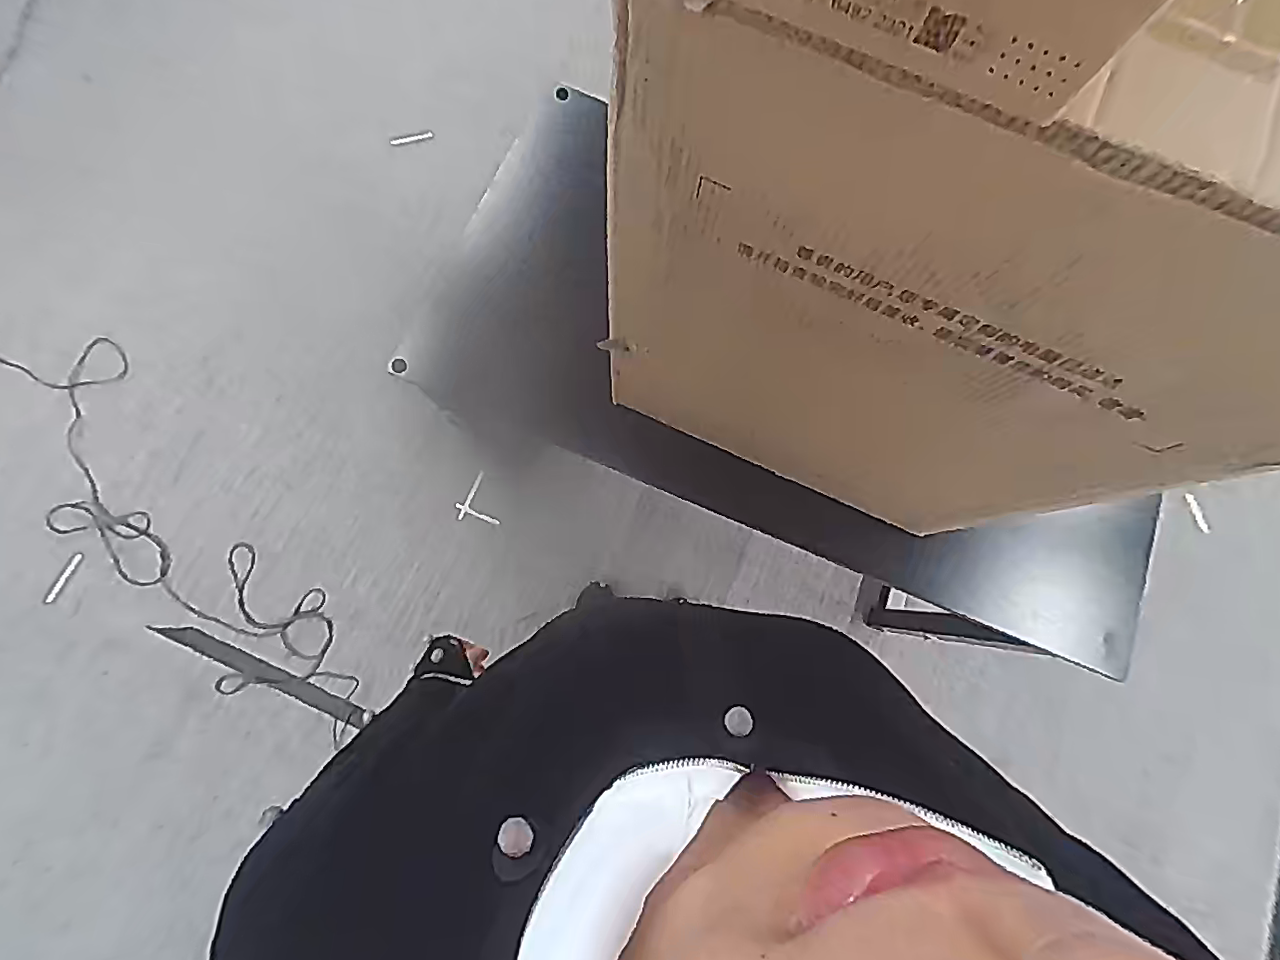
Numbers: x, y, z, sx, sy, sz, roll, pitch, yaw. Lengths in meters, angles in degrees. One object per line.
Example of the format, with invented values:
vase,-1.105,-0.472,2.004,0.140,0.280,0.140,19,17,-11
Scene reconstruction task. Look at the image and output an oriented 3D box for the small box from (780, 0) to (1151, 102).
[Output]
small box,0.133,-0.274,0.161,0.168,0.176,0.179,23,81,2
